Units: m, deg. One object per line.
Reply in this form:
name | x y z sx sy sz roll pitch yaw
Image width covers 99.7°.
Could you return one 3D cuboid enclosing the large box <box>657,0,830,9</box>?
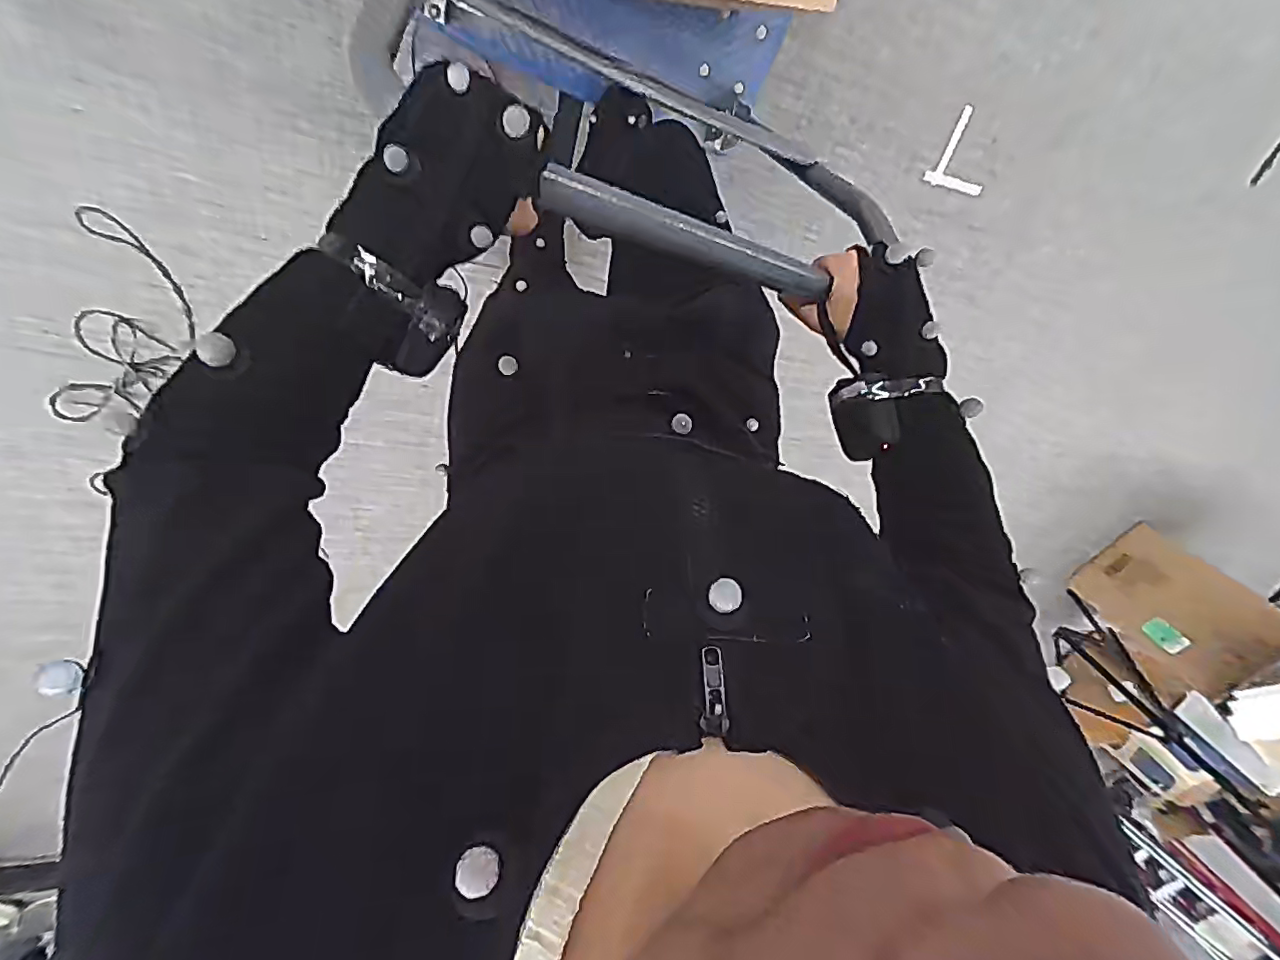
large box | 0.013 -0.760 0.616 0.408 0.320 0.320 -5 132 -14
